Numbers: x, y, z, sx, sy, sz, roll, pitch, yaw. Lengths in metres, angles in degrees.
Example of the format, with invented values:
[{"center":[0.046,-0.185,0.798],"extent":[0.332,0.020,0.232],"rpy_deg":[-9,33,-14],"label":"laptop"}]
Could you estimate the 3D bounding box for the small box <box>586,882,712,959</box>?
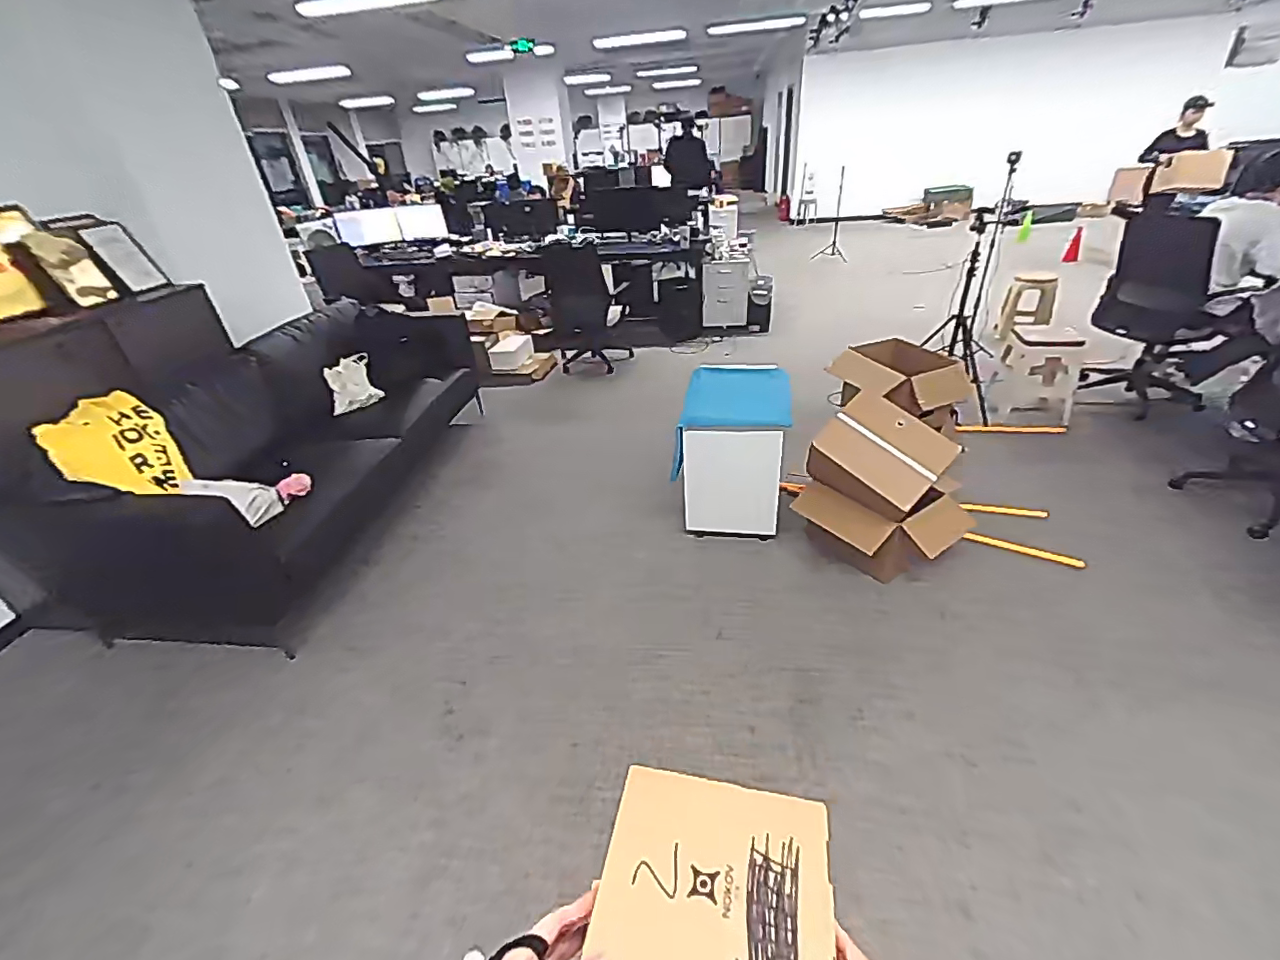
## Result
[{"center":[0.016,0.693,0.743],"extent":[0.168,0.176,0.179],"rpy_deg":[-3,33,7],"label":"small box"}]
